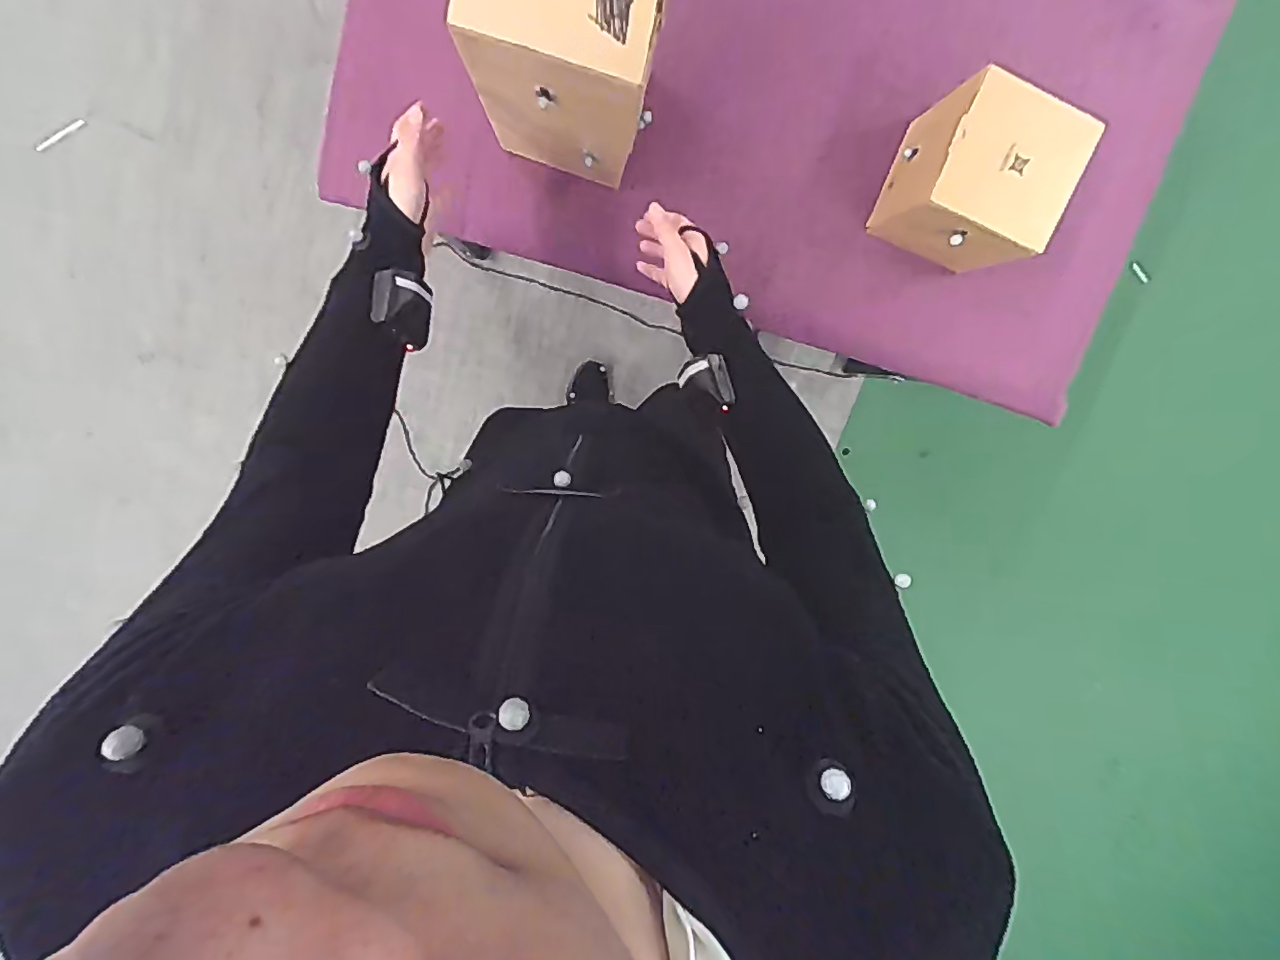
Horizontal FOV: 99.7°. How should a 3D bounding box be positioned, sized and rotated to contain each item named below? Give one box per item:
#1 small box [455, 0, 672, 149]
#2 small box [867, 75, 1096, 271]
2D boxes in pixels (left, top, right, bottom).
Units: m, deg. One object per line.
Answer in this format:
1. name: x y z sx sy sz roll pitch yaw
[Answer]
1. small box: -0.063 -0.460 0.536 0.179 0.176 0.168 13 101 -7
2. small box: 0.464 -0.411 0.763 0.179 0.176 0.168 20 100 -8
